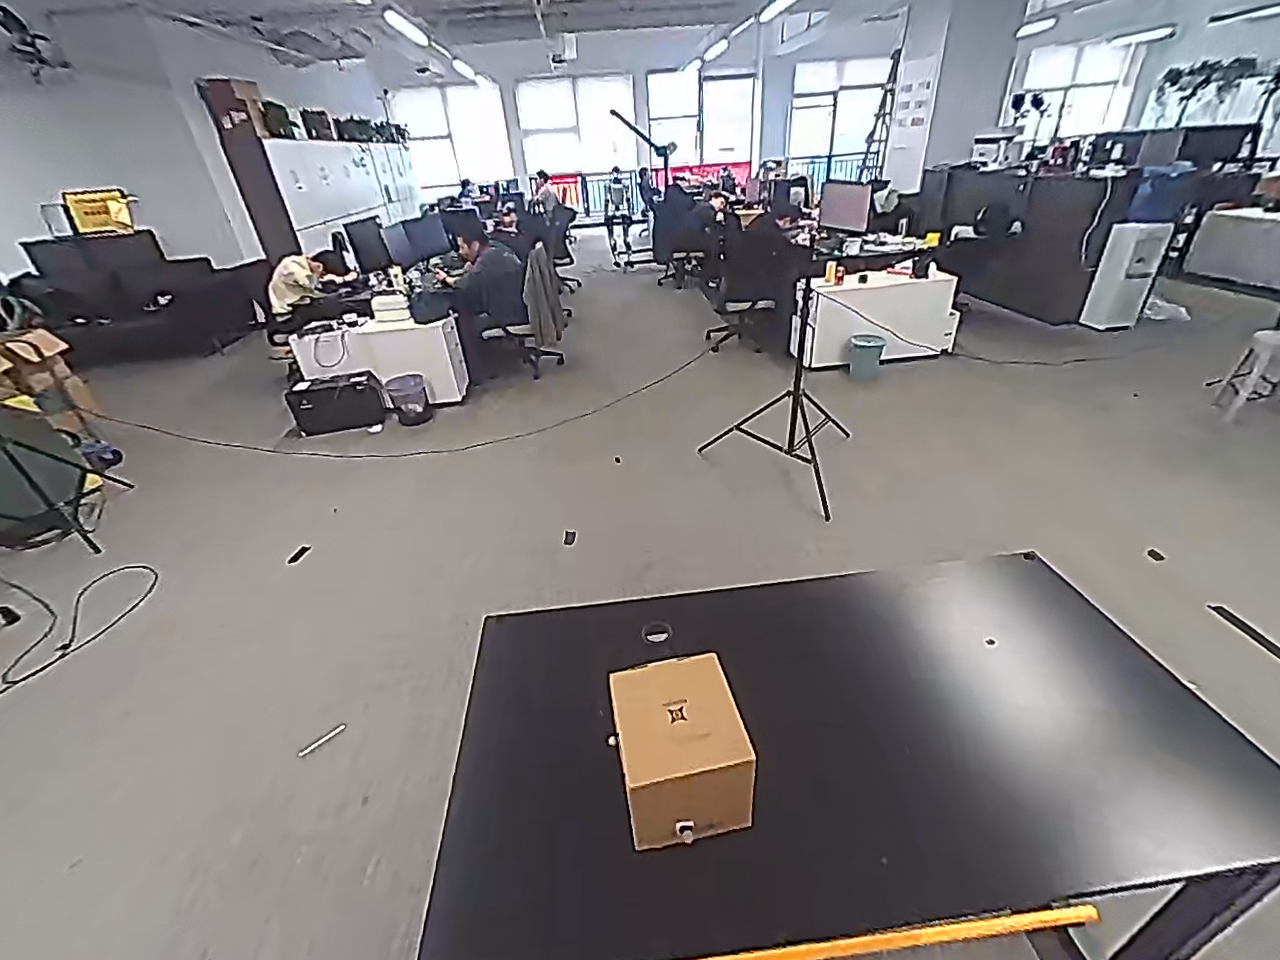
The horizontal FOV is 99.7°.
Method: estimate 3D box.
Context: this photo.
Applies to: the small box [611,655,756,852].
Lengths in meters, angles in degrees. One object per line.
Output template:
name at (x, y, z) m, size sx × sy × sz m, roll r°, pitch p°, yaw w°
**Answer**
small box at (0.056, 0.388, 0.779) m, size 0.168 × 0.176 × 0.179 m, roll -10°, pitch 33°, yaw -7°
